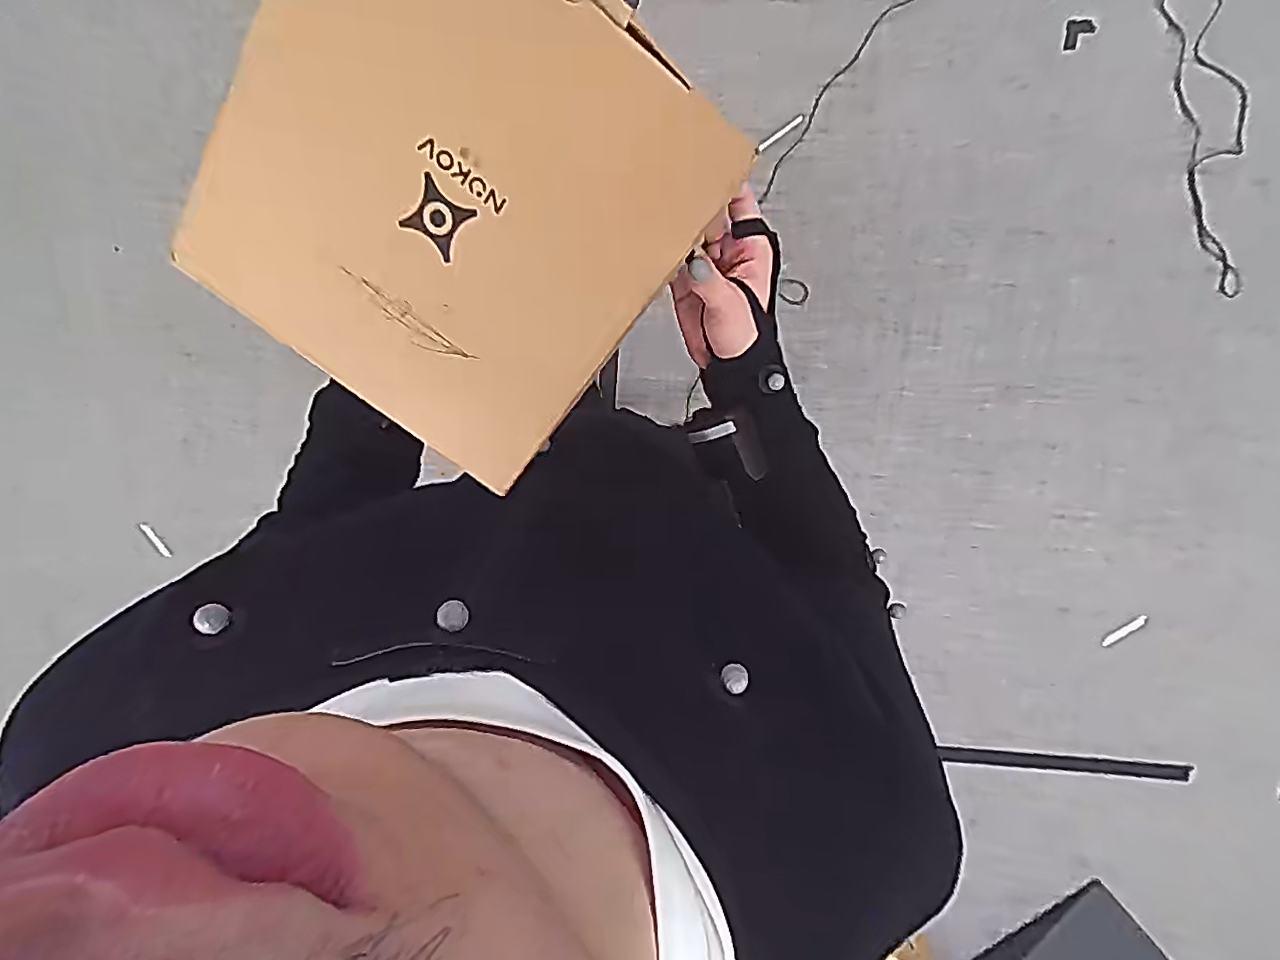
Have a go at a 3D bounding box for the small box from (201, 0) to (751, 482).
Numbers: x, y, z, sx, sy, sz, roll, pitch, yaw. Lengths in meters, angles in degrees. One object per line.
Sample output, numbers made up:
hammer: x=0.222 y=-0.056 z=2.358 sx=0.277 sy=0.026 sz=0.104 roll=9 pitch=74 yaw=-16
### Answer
small box: x=-0.067 y=-0.137 z=0.290 sx=0.168 sy=0.176 sz=0.179 roll=36 pitch=111 yaw=-9
